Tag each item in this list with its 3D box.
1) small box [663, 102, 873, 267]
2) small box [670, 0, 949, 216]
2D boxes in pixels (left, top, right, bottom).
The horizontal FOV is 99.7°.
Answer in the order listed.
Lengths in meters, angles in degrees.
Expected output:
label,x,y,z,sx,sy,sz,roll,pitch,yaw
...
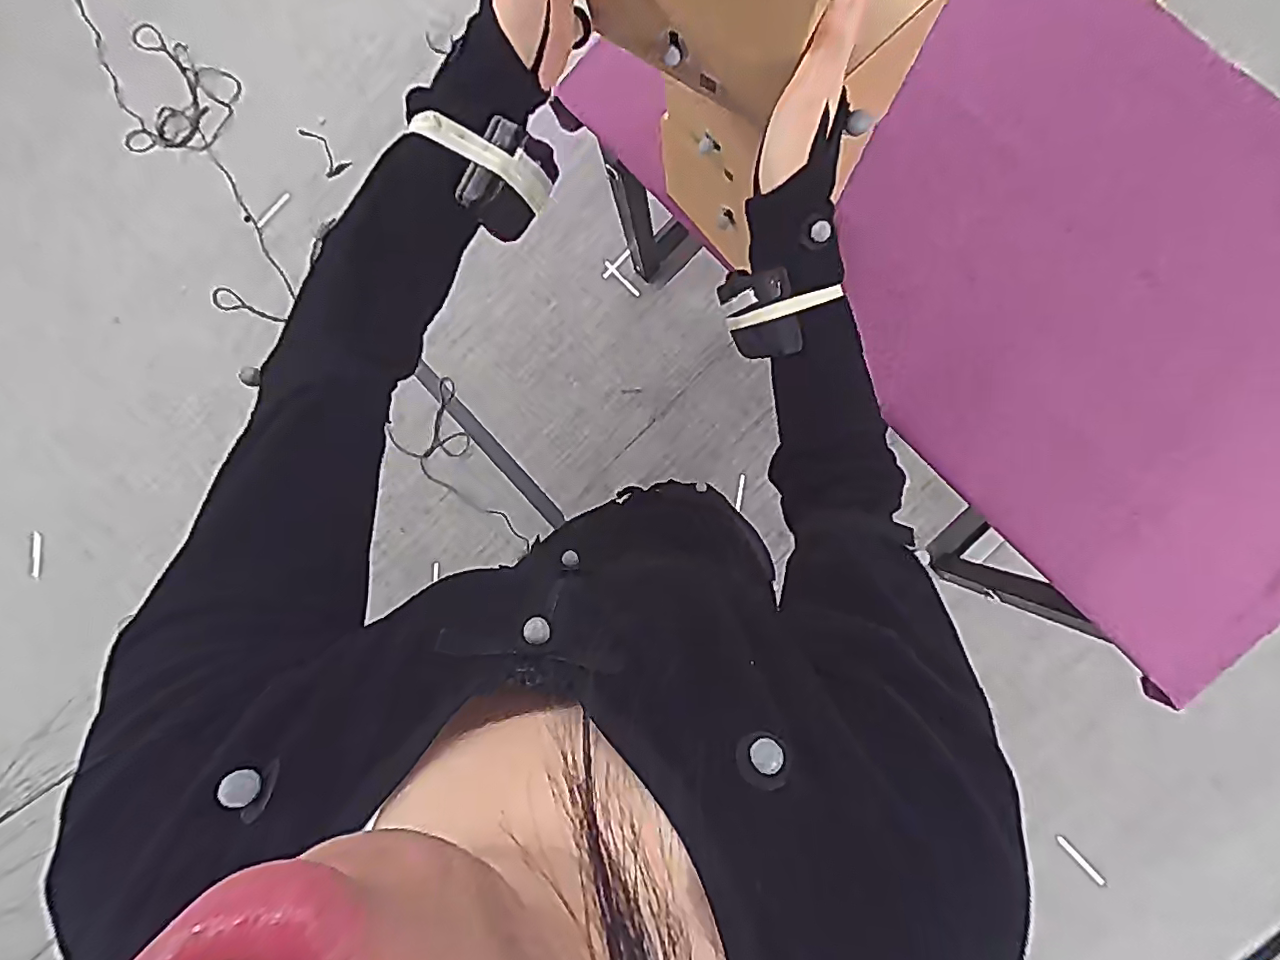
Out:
label,x,y,z,sx,sy,sz,roll,pitch,yaw
small box,0.149,-0.398,0.681,0.168,0.176,0.179,-40,86,4
small box,0.143,-0.401,0.516,0.179,0.176,0.168,-41,86,5
